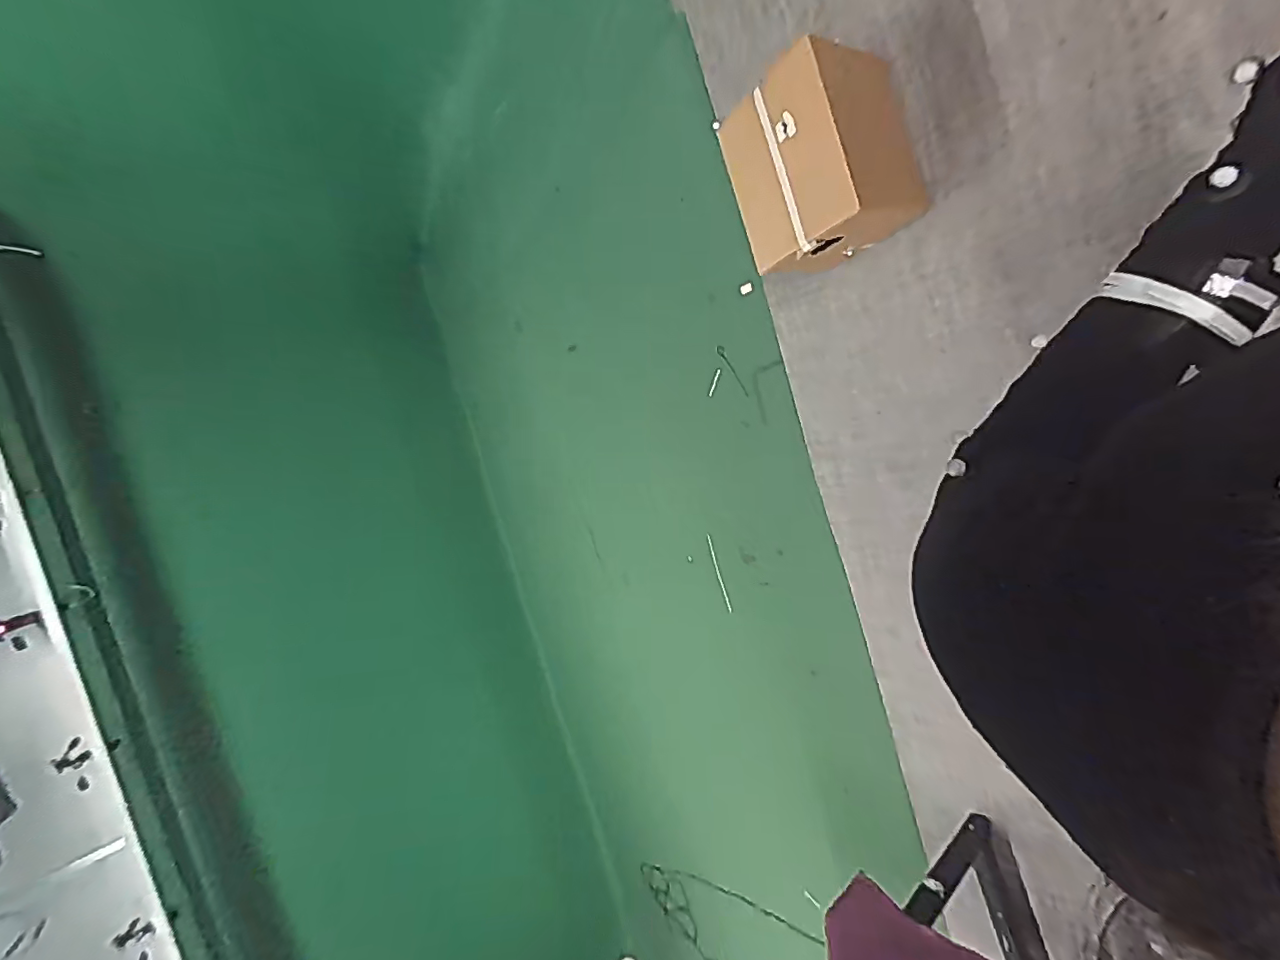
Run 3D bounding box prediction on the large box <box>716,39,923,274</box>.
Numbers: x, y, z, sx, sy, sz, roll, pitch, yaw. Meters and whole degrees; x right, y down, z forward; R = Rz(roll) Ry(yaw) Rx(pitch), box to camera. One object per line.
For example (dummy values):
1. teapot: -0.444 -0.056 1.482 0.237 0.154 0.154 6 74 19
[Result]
1. large box: 0.457 -0.796 1.392 0.320 0.320 0.408 -15 92 56
